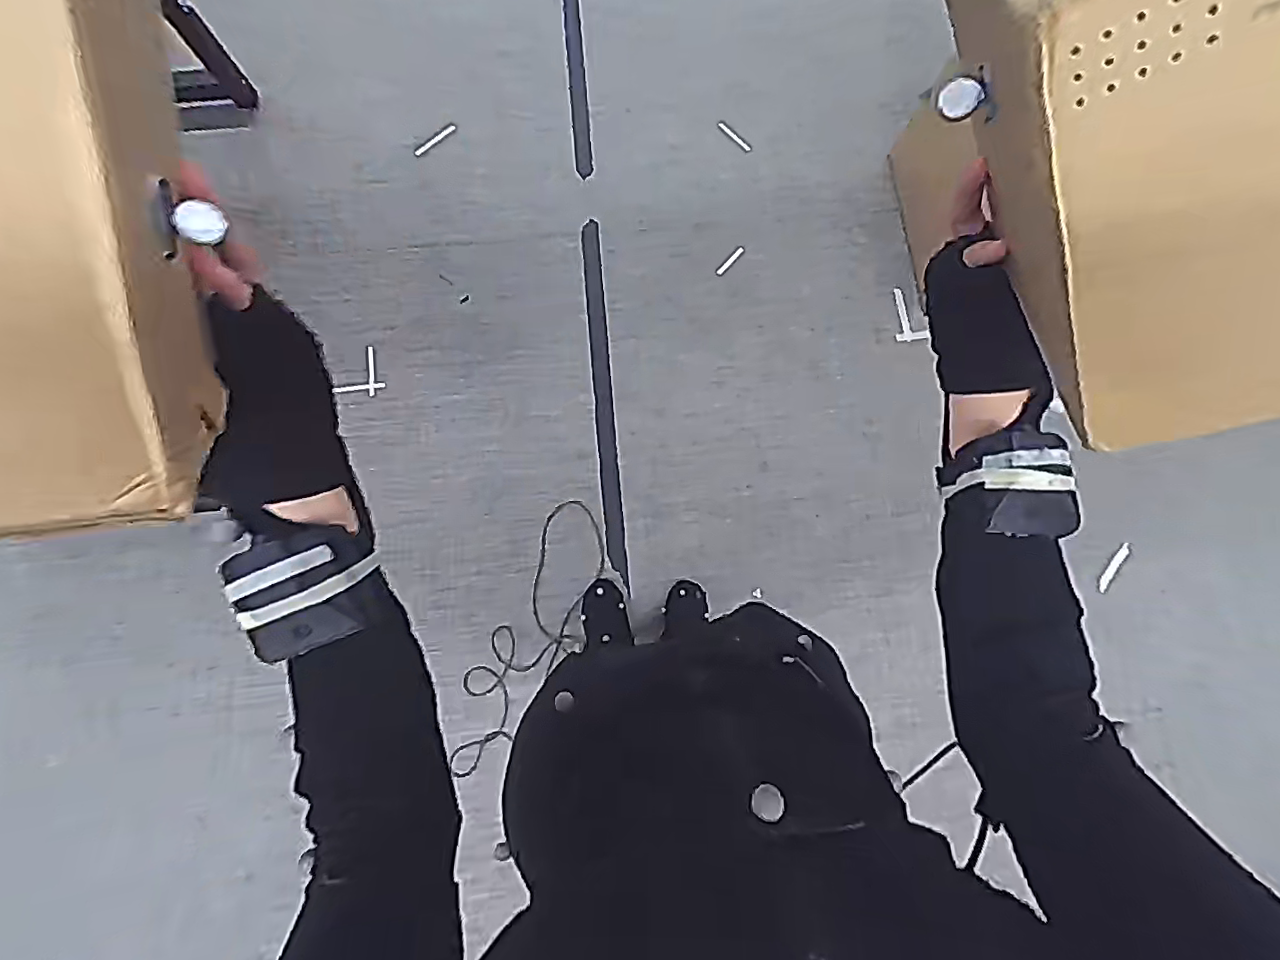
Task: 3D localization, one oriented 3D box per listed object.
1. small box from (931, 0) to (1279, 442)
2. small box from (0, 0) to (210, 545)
[{"bbox_3d":[0.216,-0.148,0.189,0.176,0.168,0.179,49,41,-32],"label":"small box"},{"bbox_3d":[-0.238,-0.087,0.137,0.179,0.168,0.176,-7,119,-32],"label":"small box"}]
